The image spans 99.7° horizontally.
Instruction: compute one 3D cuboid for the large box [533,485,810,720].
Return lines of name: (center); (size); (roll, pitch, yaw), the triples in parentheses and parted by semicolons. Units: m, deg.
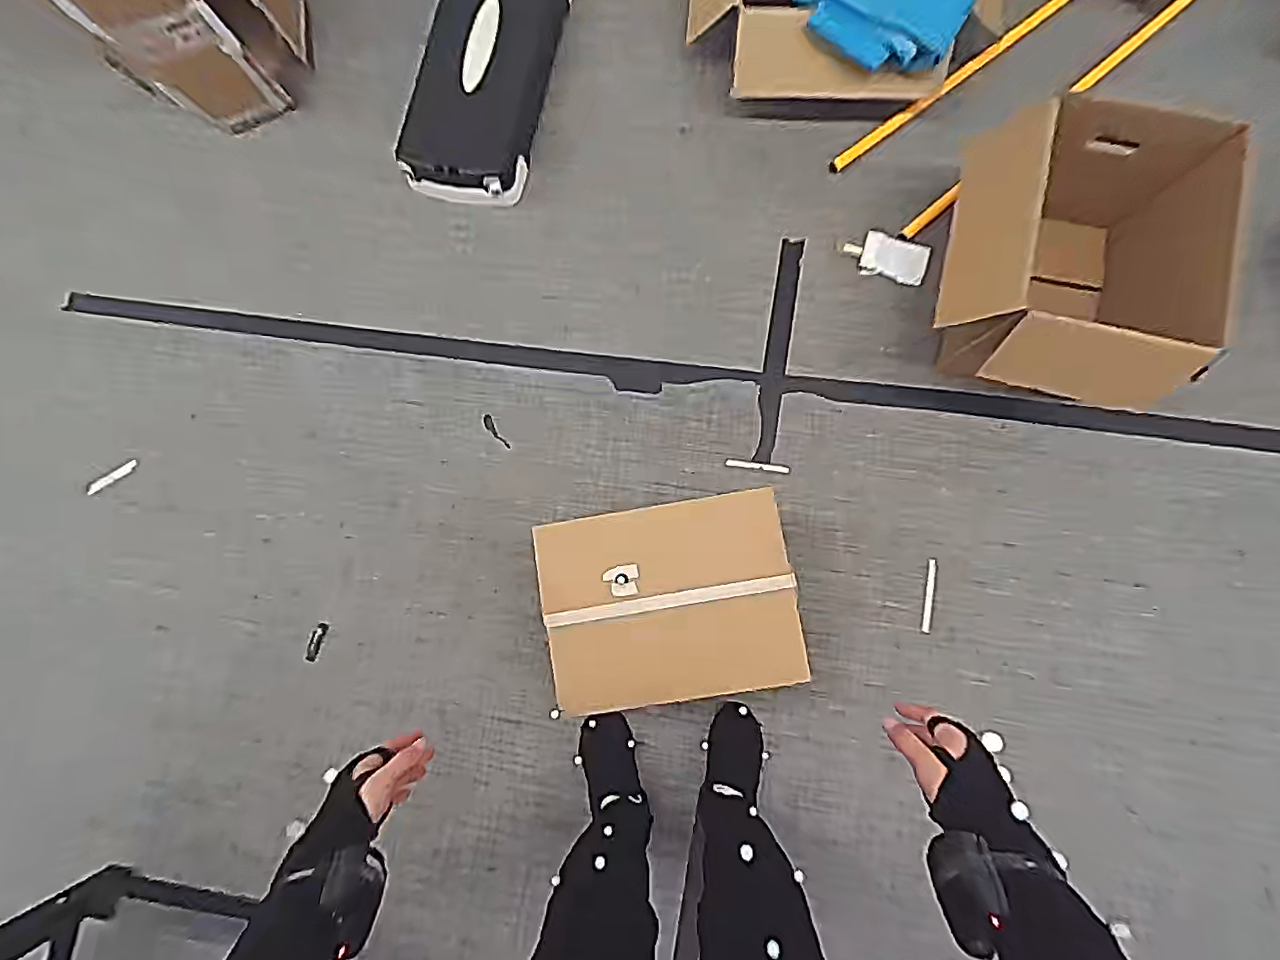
large box: (0.056, 0.210, 1.009); (0.408, 0.320, 0.320); (-11, 82, 4)
